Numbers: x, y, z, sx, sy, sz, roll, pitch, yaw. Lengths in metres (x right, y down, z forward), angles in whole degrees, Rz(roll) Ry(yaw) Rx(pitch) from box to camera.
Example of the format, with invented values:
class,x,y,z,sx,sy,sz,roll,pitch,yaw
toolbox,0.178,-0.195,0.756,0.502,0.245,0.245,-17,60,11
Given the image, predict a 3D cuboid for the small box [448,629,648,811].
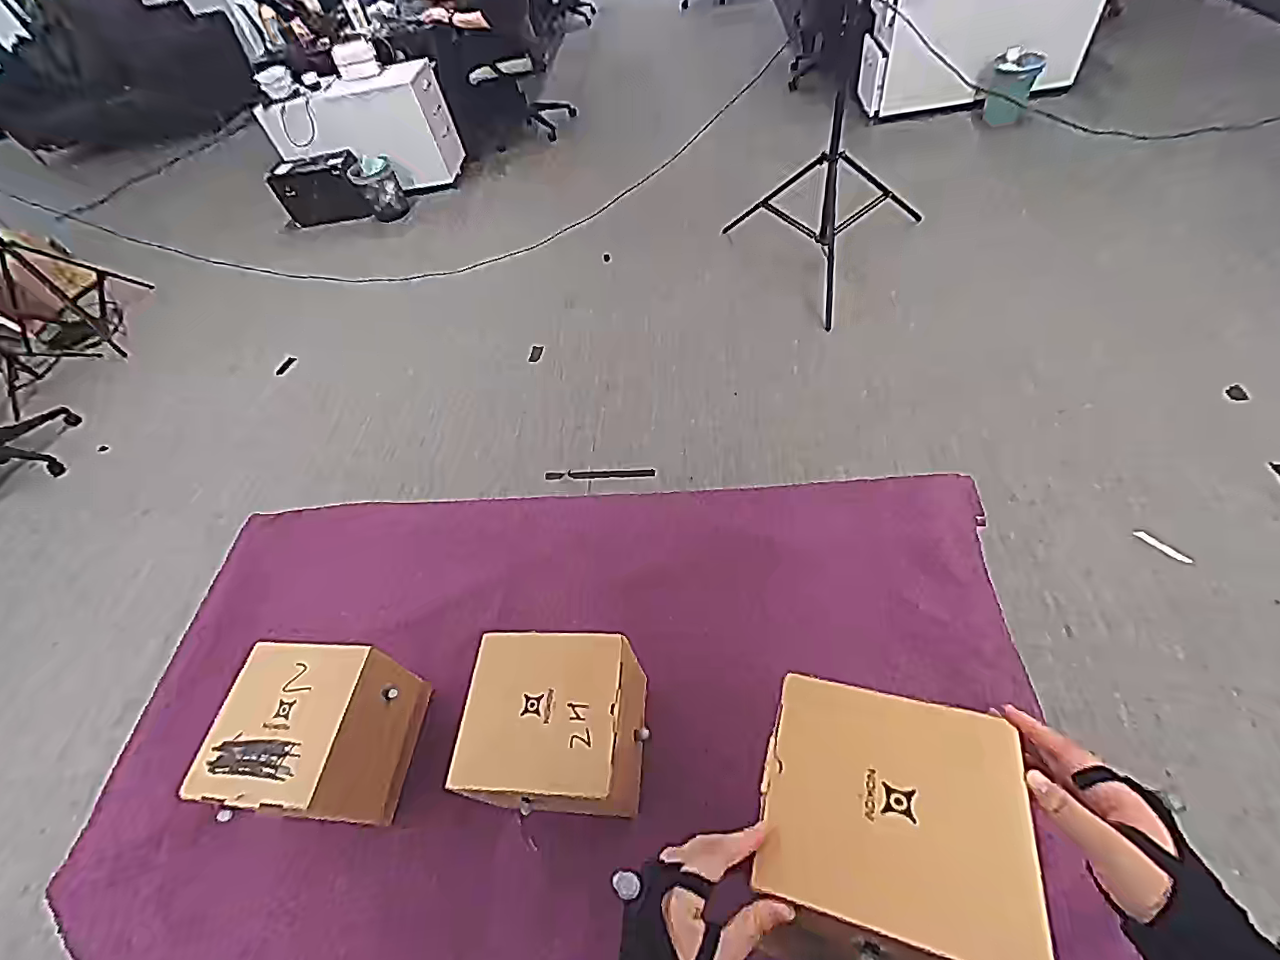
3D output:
class,x,y,z,sx,sy,sz,roll,pitch,yaw
small box,-0.094,0.290,0.648,0.179,0.176,0.168,-1,54,10
